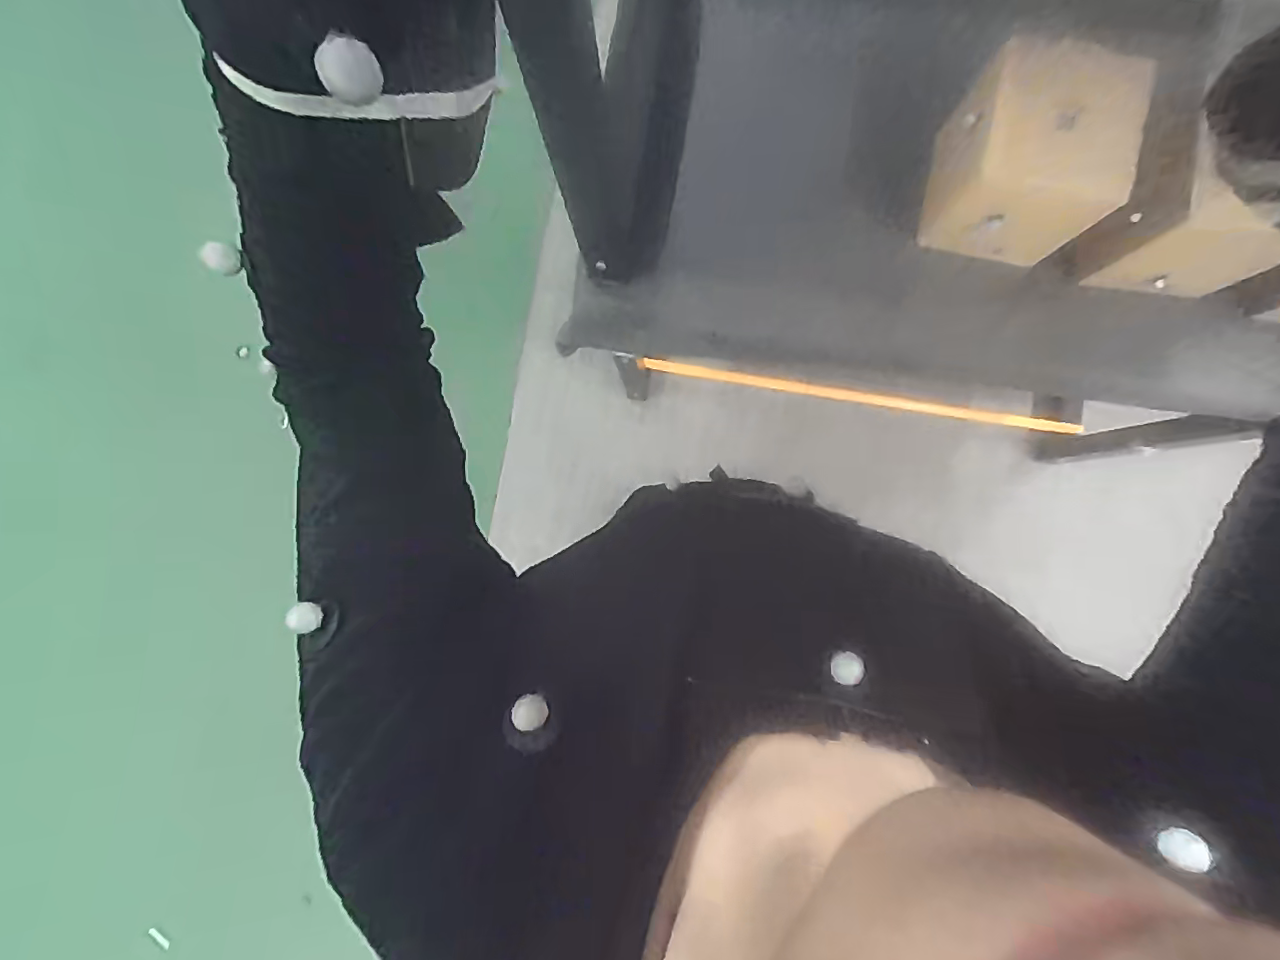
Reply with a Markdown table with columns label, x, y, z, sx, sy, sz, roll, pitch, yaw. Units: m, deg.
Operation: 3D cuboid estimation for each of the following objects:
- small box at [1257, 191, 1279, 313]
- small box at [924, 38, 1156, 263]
| label | x | y | z | sx | sy | sz | roll | pitch | yaw |
| --- | --- | --- | --- | --- | --- | --- | --- | --- | --- |
| small box | 0.930 | -0.304 | 0.663 | 0.168 | 0.176 | 0.179 | 7 | 86 | 3 |
| small box | 0.496 | -0.408 | 0.699 | 0.168 | 0.176 | 0.179 | 13 | 87 | 4 |
